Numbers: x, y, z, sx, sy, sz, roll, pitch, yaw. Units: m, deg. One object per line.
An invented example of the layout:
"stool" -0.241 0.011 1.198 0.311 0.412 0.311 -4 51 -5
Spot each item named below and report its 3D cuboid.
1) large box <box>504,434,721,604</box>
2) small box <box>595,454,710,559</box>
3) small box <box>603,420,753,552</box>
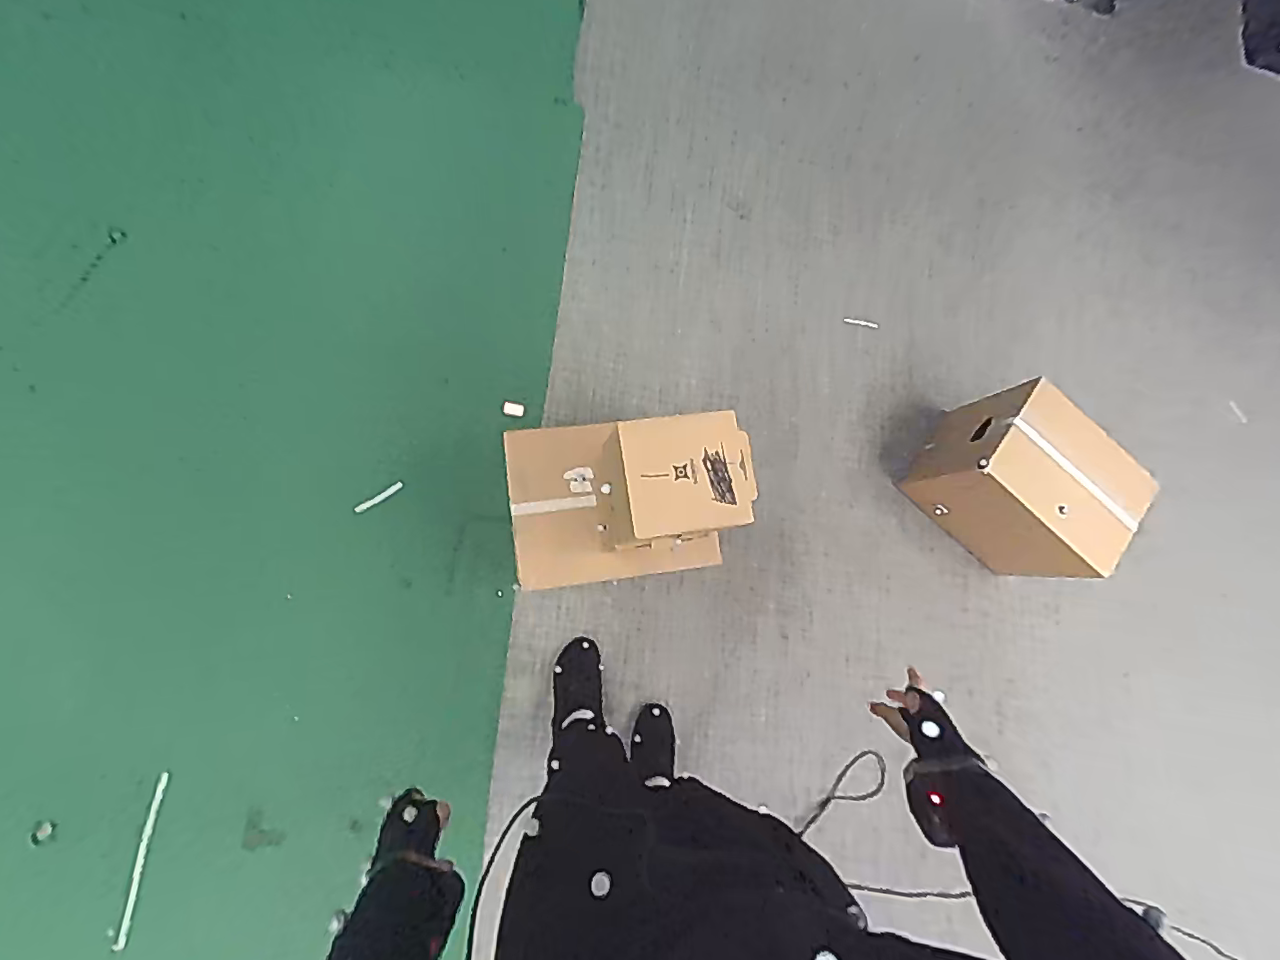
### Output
"large box" -0.074 0.086 1.212 0.408 0.320 0.320 -6 80 -11
"small box" 0.015 0.049 0.982 0.168 0.176 0.179 -5 80 -12
"small box" 0.048 0.015 0.825 0.179 0.176 0.168 -7 81 -12
